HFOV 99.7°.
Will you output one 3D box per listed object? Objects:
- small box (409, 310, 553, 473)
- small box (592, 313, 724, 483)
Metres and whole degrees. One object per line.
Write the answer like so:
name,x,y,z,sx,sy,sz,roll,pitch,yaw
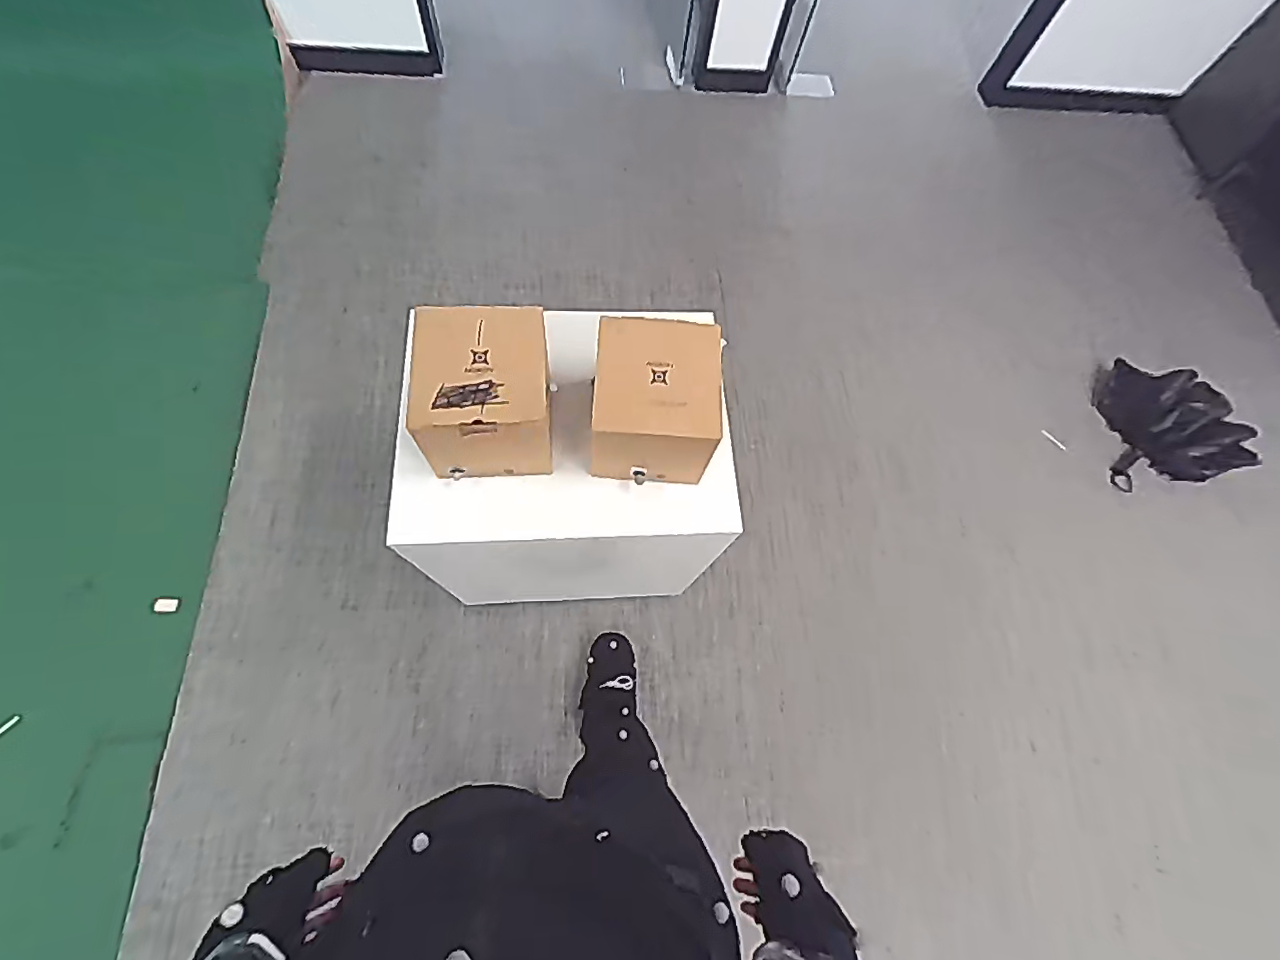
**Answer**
small box,-0.210,-0.115,0.760,0.168,0.176,0.179,-2,68,-7
small box,0.019,-0.109,0.767,0.168,0.176,0.179,2,70,-3
